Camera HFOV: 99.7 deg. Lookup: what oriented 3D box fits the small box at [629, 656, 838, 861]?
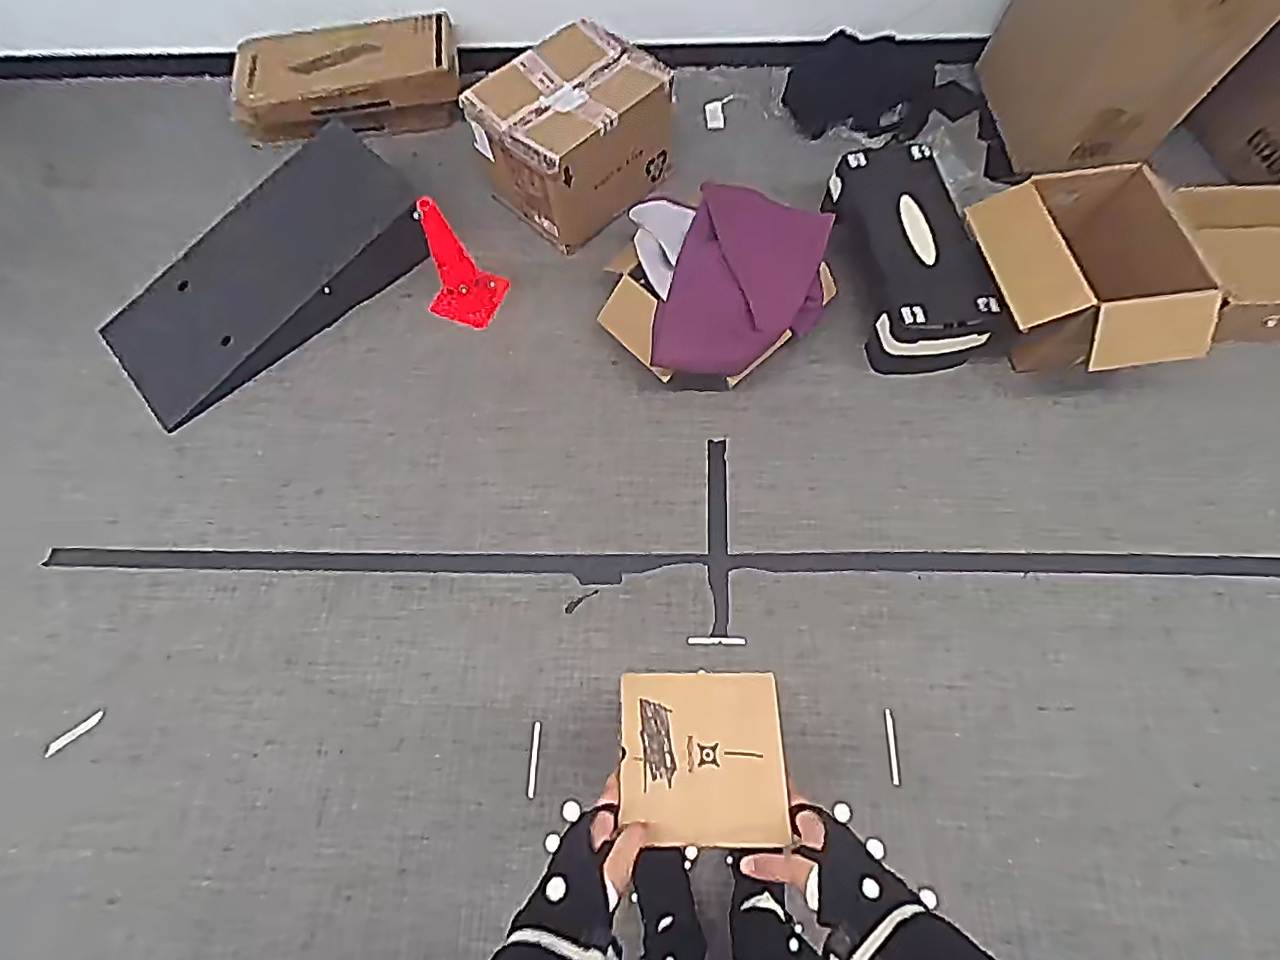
[{"bbox_3d":[0.083,0.283,0.556,0.179,0.176,0.168,-2,61,3],"label":"small box"}]
